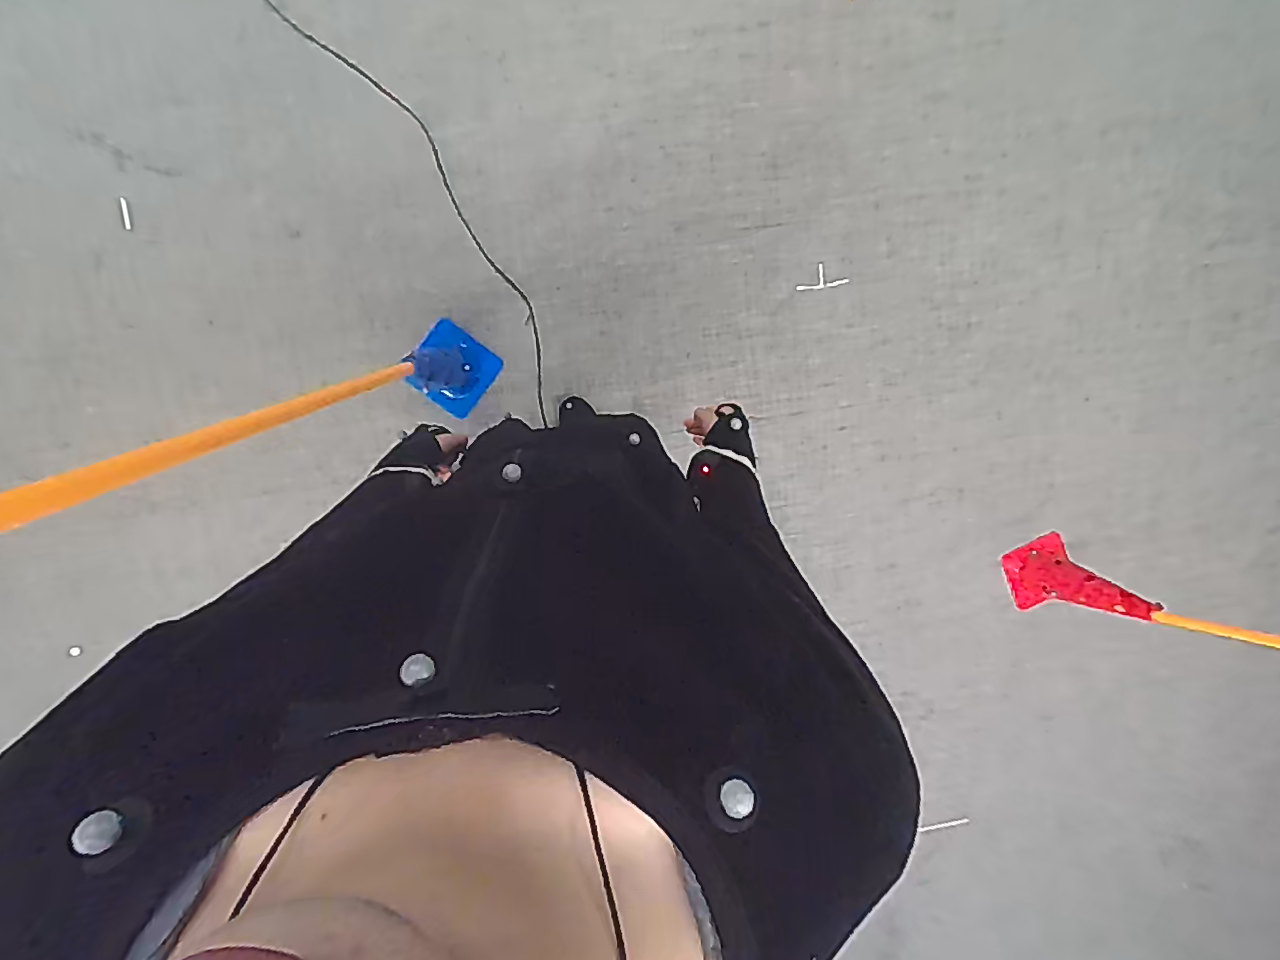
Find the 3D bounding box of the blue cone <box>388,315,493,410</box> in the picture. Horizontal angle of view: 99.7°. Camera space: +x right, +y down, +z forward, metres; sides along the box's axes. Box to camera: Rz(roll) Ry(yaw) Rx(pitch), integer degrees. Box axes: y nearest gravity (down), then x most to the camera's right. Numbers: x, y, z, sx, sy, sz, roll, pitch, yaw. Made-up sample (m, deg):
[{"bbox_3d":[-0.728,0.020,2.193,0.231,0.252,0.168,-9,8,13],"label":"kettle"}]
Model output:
[{"bbox_3d":[-0.479,-0.263,1.231,0.192,0.380,0.193,36,97,-11],"label":"blue cone"}]
